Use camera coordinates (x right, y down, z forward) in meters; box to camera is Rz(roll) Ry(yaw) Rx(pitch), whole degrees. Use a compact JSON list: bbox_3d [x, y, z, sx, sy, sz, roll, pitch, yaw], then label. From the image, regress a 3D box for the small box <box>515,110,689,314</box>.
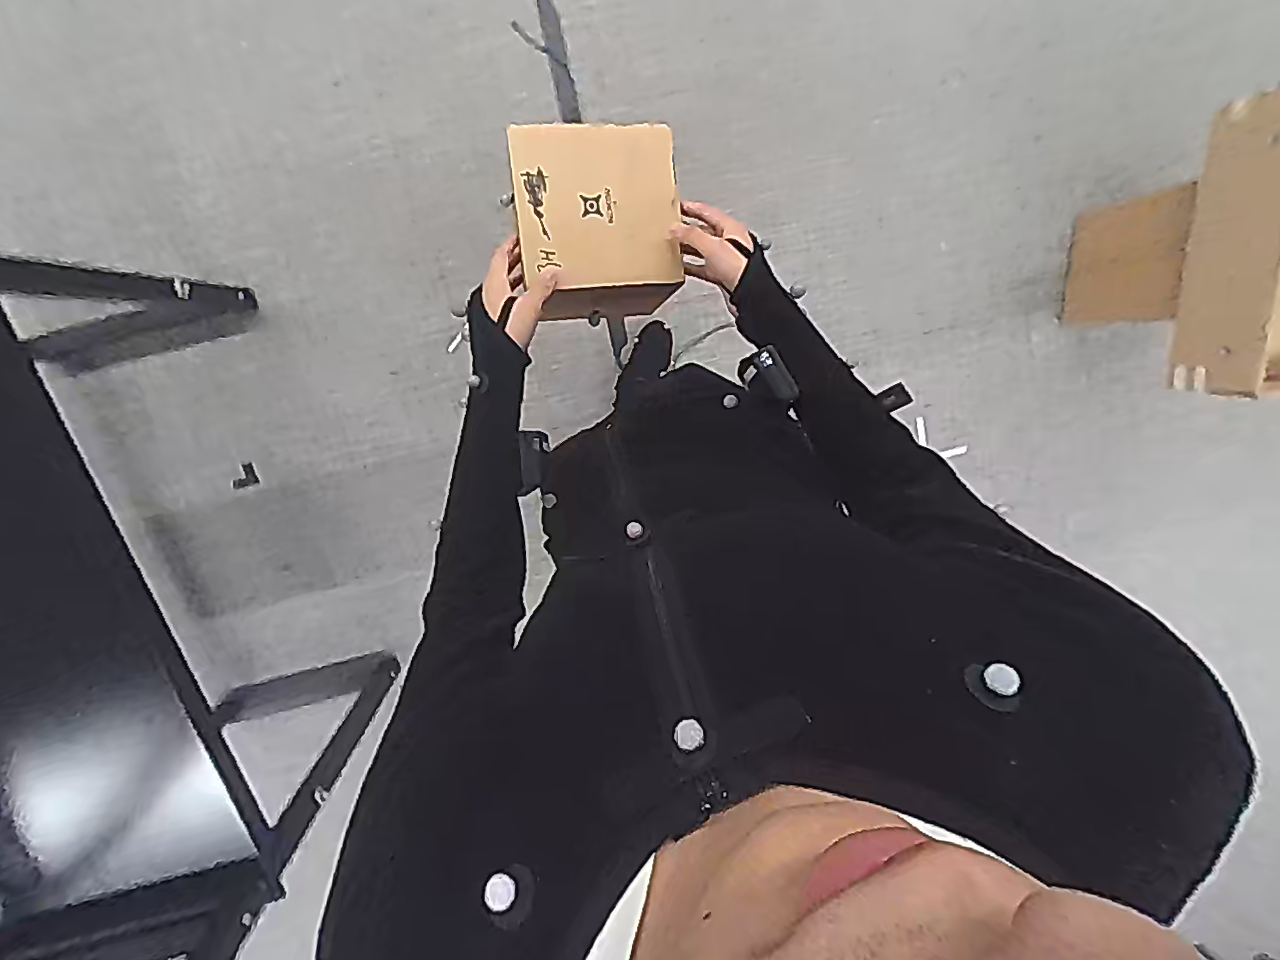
[{"bbox_3d":[-0.053,-0.300,0.641,0.179,0.176,0.168,-6,95,-12],"label":"small box"}]
